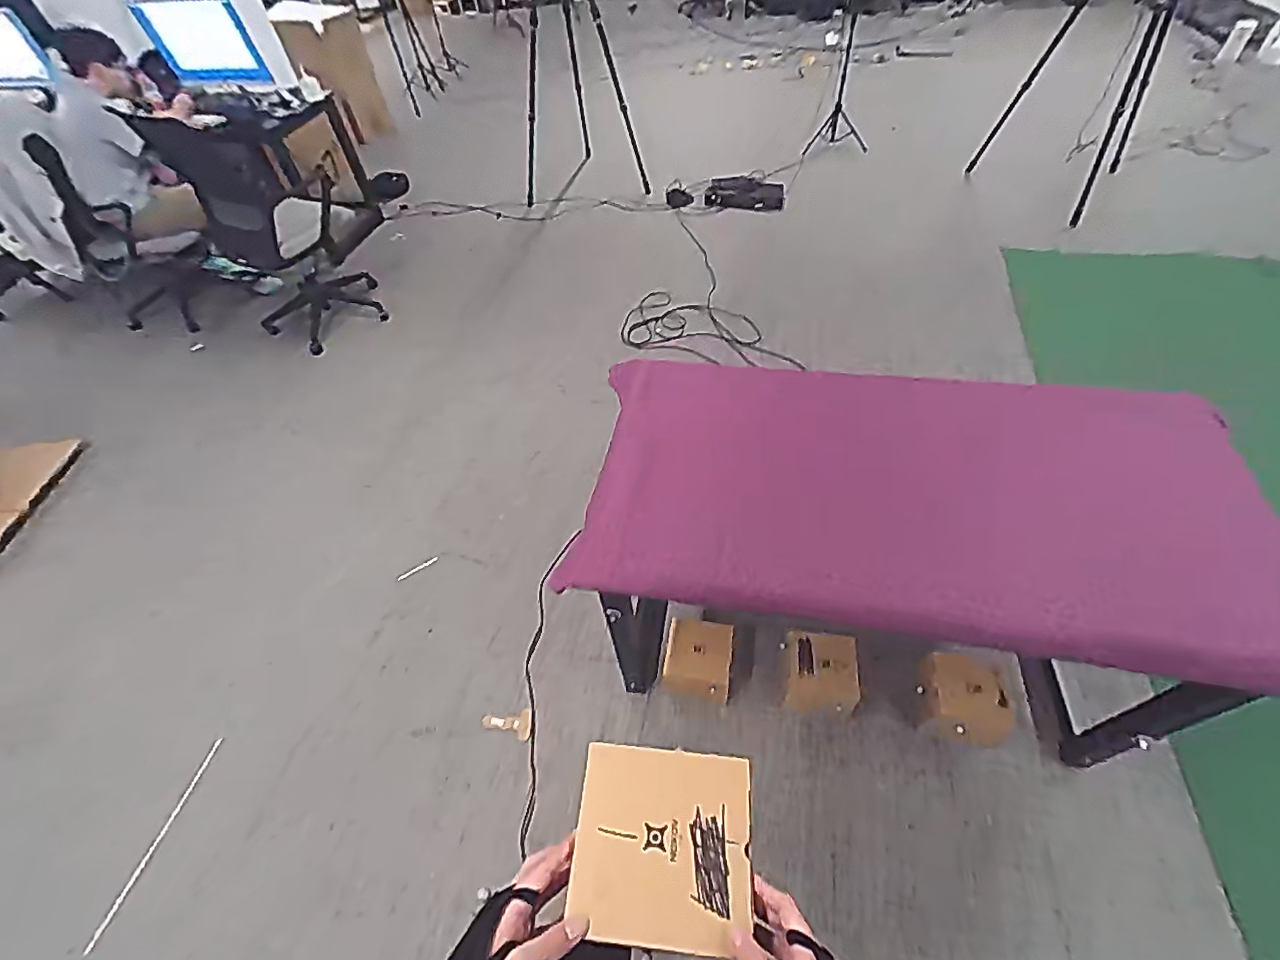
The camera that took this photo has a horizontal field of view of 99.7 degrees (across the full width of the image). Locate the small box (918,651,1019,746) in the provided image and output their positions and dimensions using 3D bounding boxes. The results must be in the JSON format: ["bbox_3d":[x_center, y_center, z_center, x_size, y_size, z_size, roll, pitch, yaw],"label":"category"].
[{"bbox_3d":[0.830,0.564,1.389,0.179,0.176,0.168,8,52,13],"label":"small box"}]

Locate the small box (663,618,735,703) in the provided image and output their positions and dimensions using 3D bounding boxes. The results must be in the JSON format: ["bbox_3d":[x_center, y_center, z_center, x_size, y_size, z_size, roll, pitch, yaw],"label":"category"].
[{"bbox_3d":[0.166,0.506,1.510,0.179,0.176,0.168,6,51,10],"label":"small box"}]
